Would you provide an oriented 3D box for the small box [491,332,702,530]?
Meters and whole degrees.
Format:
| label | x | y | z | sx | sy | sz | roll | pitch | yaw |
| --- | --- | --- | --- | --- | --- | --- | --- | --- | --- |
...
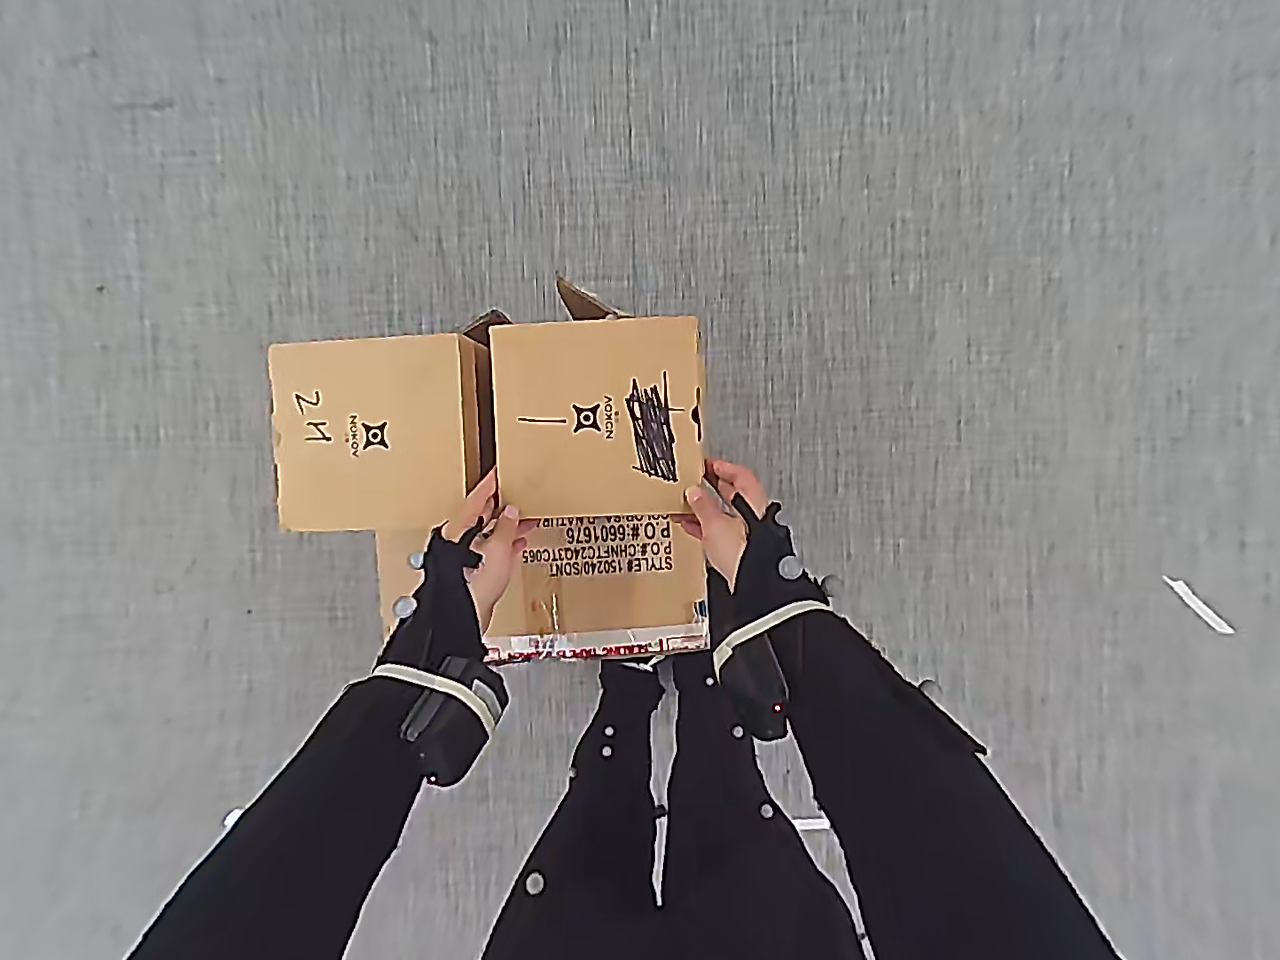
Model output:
| label | x | y | z | sx | sy | sz | roll | pitch | yaw |
| --- | --- | --- | --- | --- | --- | --- | --- | --- | --- |
| small box | -0.035 | -0.045 | 0.540 | 0.179 | 0.176 | 0.168 | -3 | 92 | 3 |

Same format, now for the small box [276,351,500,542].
| label | x | y | z | sx | sy | sz | roll | pitch | yaw |
| --- | --- | --- | --- | --- | --- | --- | --- | --- | --- |
| small box | -0.225 | -0.031 | 0.550 | 0.179 | 0.176 | 0.168 | -2 | 91 | 6 |
